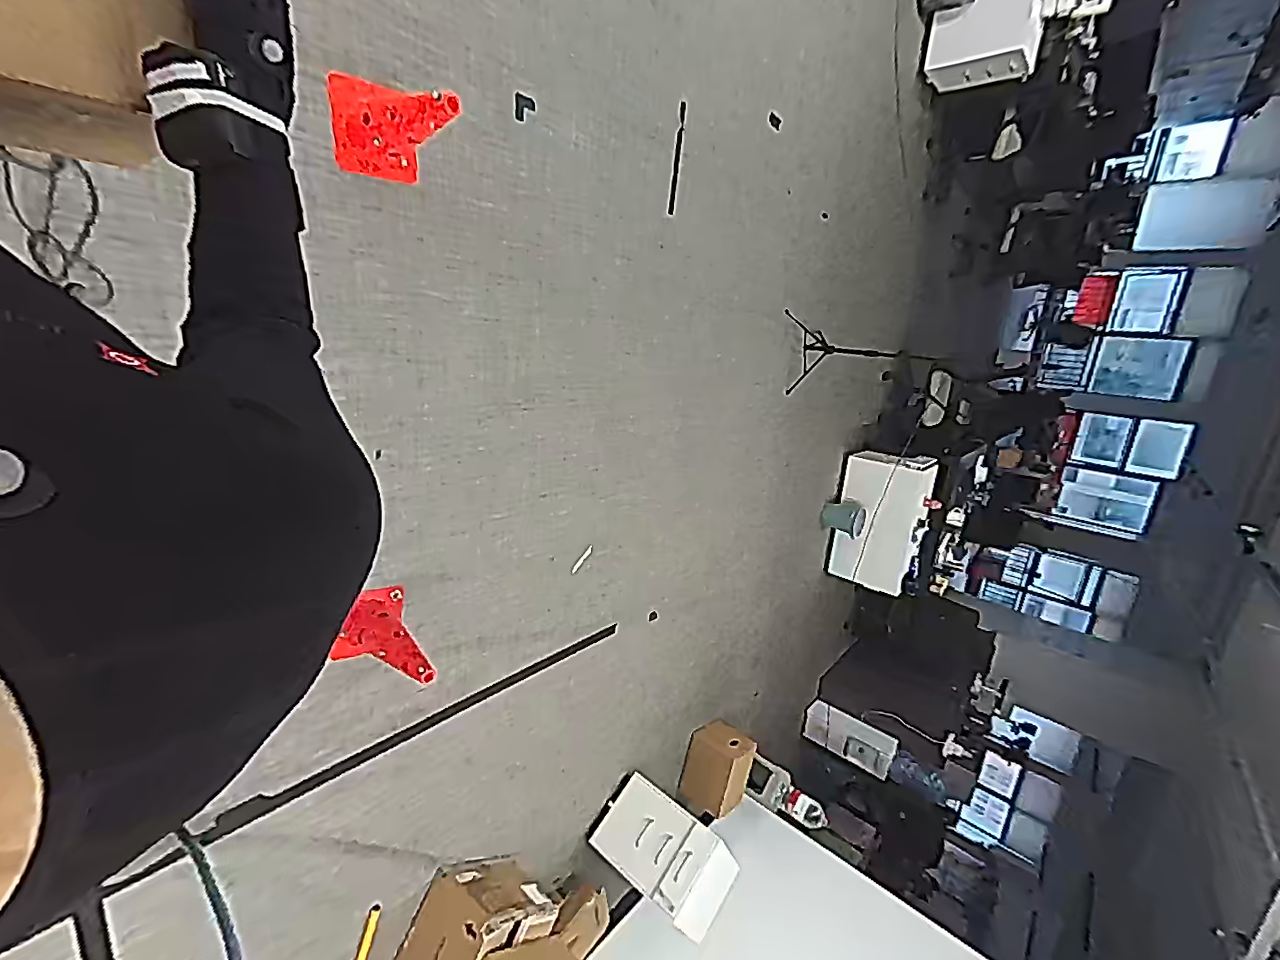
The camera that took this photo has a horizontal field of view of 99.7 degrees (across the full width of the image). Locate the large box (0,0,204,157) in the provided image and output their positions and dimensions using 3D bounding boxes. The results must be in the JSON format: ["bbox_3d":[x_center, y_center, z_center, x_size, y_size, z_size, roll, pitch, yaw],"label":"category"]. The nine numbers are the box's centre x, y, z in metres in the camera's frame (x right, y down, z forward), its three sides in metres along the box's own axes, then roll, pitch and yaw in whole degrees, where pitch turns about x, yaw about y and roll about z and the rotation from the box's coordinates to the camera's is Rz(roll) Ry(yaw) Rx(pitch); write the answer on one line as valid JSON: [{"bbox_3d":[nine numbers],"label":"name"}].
[{"bbox_3d":[-0.562,-0.421,0.309,0.408,0.320,0.320,-16,117,-48],"label":"large box"}]

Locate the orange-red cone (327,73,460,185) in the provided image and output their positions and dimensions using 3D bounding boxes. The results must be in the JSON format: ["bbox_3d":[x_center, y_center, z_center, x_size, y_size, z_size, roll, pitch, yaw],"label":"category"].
[{"bbox_3d":[-0.512,-0.799,1.195,0.198,0.360,0.199,-16,114,-48],"label":"orange-red cone"}]

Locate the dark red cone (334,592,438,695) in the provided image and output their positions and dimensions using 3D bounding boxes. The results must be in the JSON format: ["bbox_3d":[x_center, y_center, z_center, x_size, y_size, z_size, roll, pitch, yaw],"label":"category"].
[{"bbox_3d":[-0.657,0.465,1.462,0.201,0.394,0.202,-3,106,-49],"label":"dark red cone"}]
